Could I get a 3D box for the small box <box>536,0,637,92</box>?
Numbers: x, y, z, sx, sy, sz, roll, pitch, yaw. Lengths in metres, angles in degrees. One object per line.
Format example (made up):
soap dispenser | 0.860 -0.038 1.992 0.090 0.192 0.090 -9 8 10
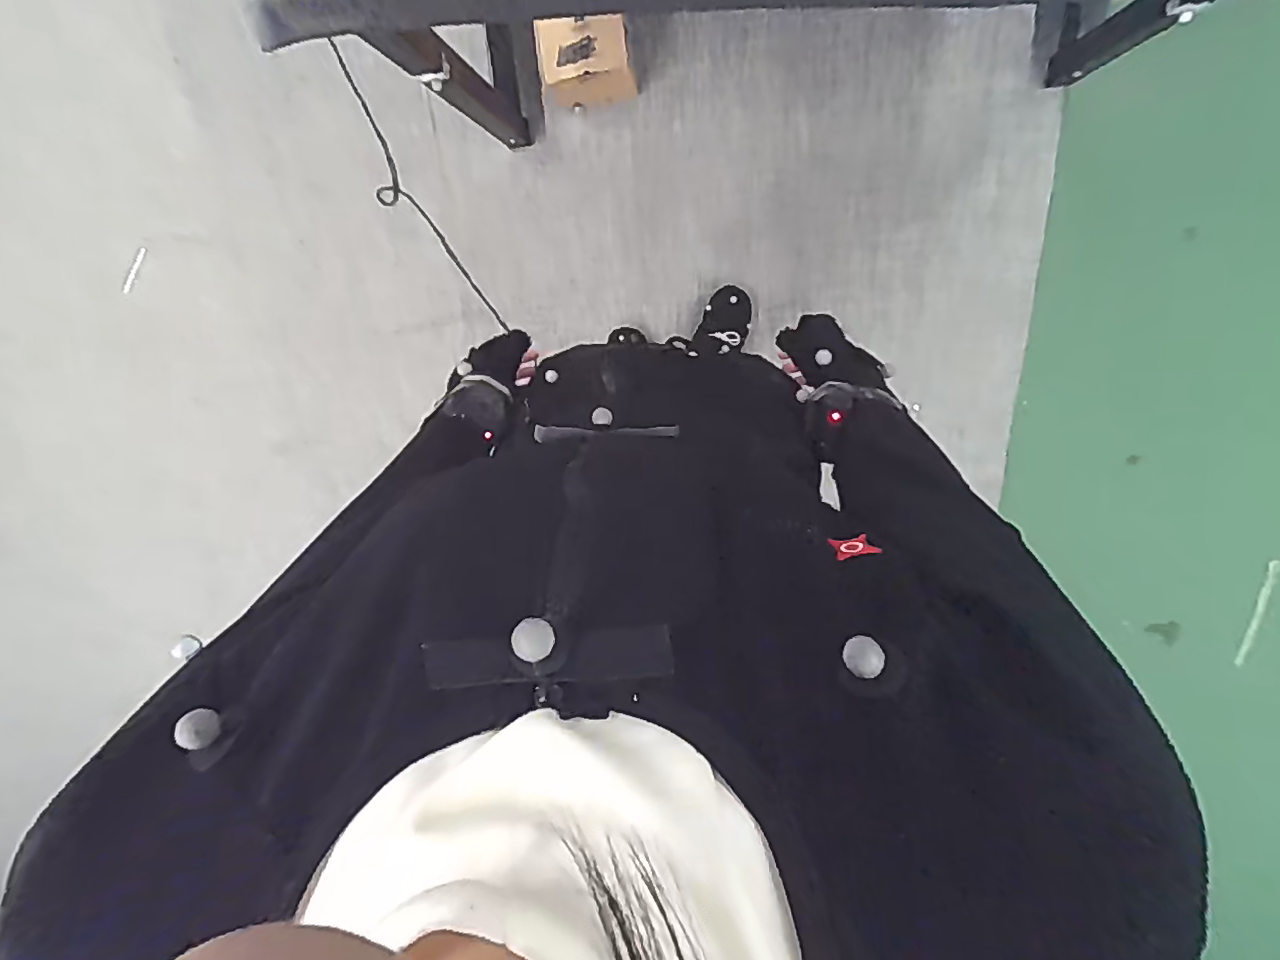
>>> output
small box | -0.102 -0.903 1.077 0.168 0.176 0.179 -5 109 7
